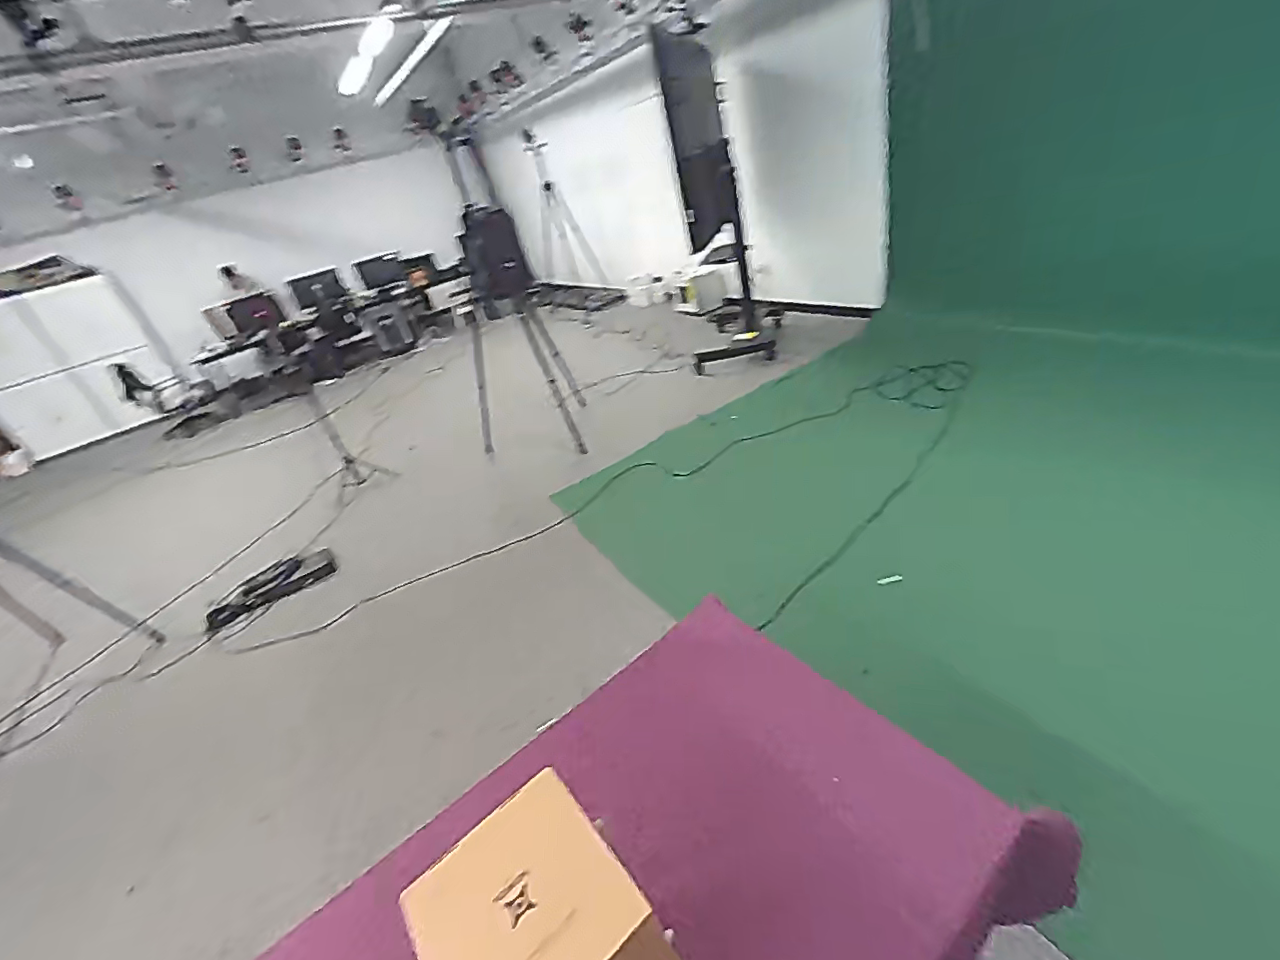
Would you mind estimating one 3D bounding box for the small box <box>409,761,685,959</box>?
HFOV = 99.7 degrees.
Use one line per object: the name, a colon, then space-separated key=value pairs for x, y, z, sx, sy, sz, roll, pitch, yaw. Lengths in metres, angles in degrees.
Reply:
small box: x=-0.082 y=0.422 z=0.510 sx=0.168 sy=0.176 sz=0.179 roll=-34 pitch=36 yaw=-25
